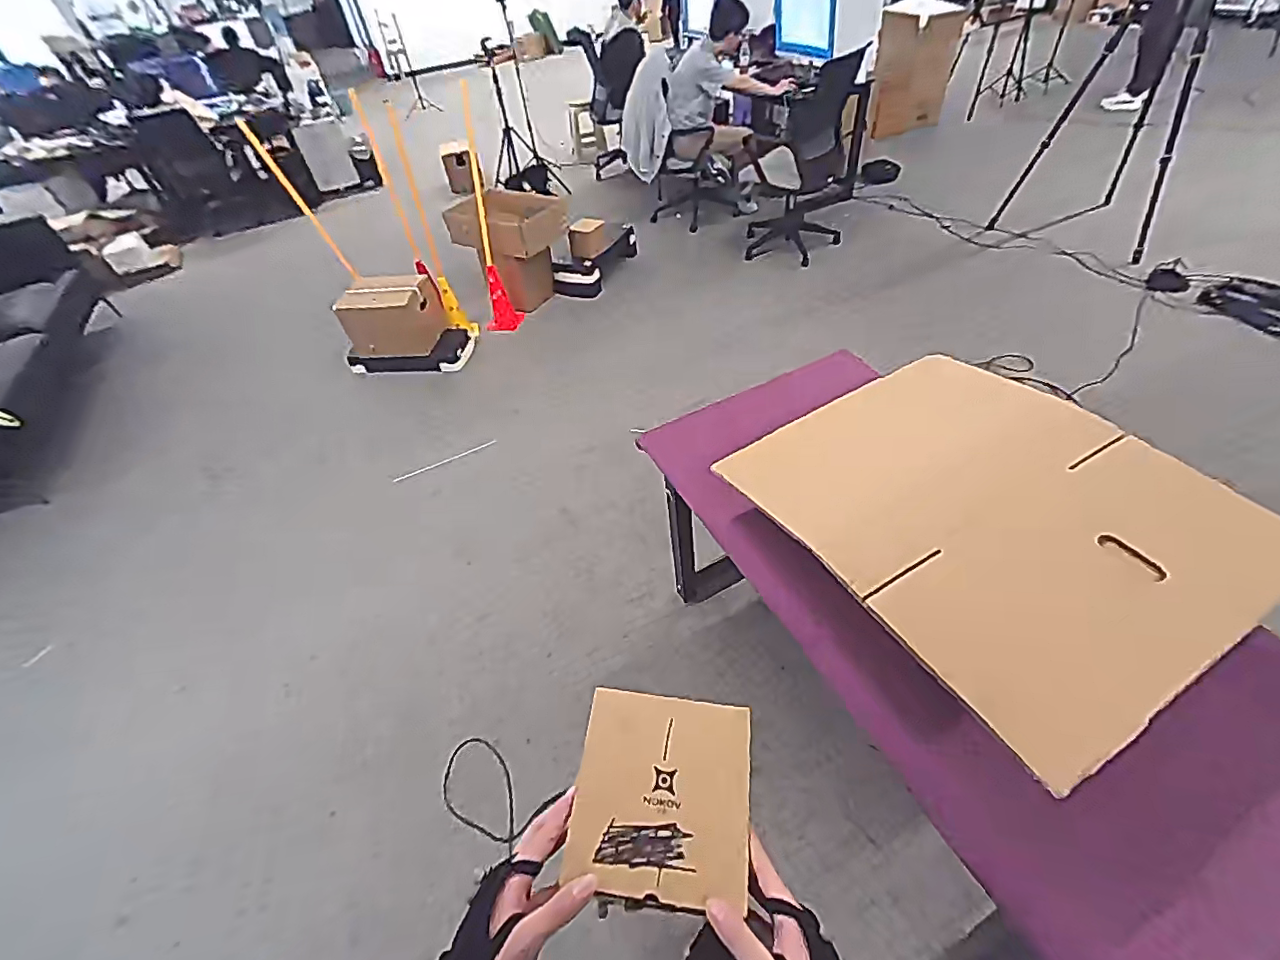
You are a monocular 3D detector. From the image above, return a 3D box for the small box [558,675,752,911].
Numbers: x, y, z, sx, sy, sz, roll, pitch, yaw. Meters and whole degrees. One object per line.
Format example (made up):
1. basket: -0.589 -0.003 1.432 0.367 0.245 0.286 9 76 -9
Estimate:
1. small box: 0.023 0.333 0.572 0.168 0.176 0.179 6 50 6
